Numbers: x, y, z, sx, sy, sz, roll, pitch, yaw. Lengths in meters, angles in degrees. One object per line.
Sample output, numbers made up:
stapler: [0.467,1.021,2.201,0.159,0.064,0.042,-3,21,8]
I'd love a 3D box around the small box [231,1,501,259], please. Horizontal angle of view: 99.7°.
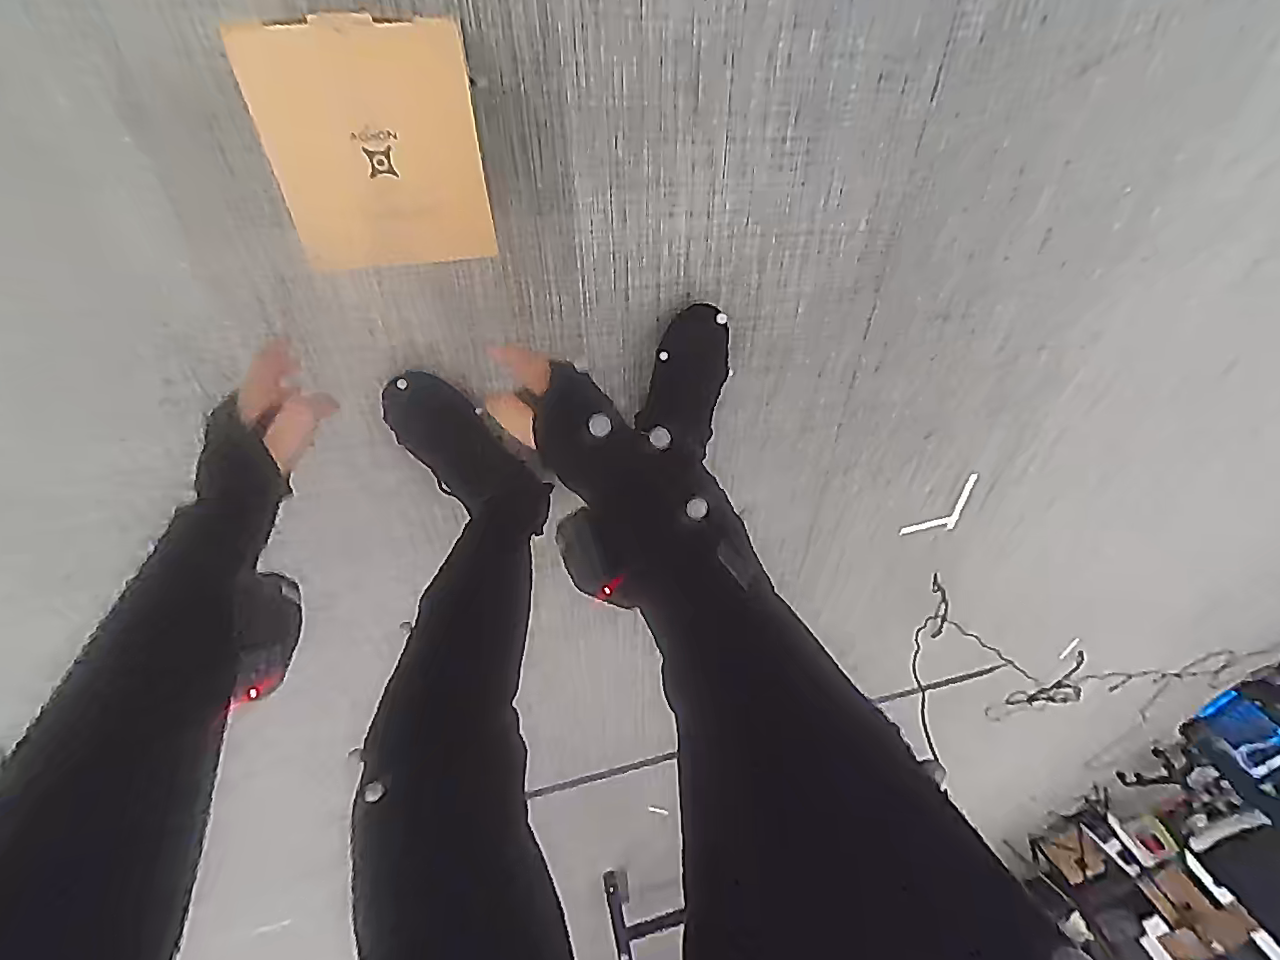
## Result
small box: [-0.231,-0.327,0.507,0.168,0.176,0.179,-10,130,-10]
